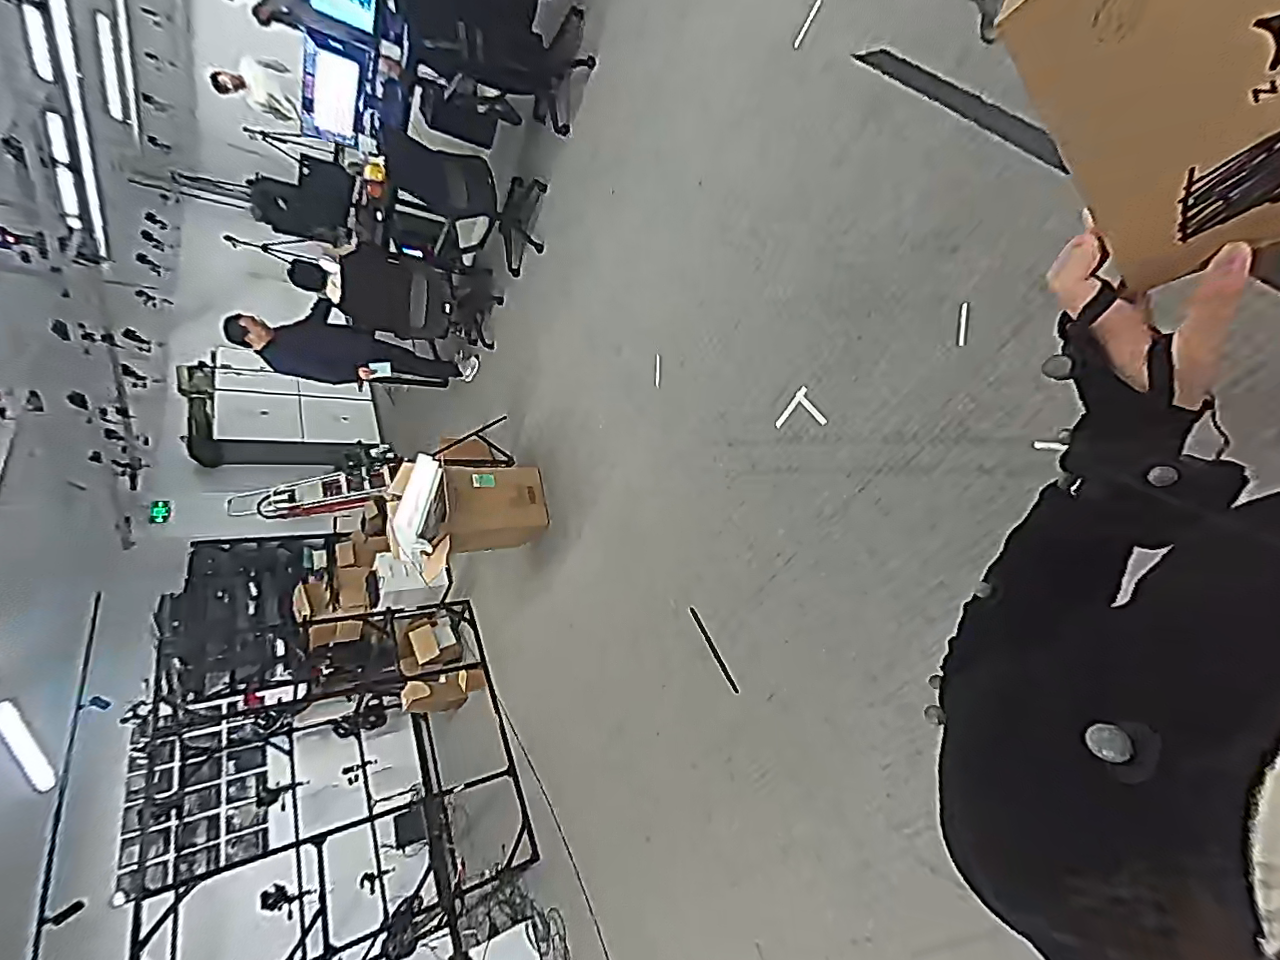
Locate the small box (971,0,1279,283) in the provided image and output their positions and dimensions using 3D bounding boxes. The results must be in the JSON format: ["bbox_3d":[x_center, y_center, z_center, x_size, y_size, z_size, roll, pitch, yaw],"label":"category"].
[{"bbox_3d":[0.300,-0.242,0.262,0.168,0.179,0.176,-18,32,54],"label":"small box"}]
